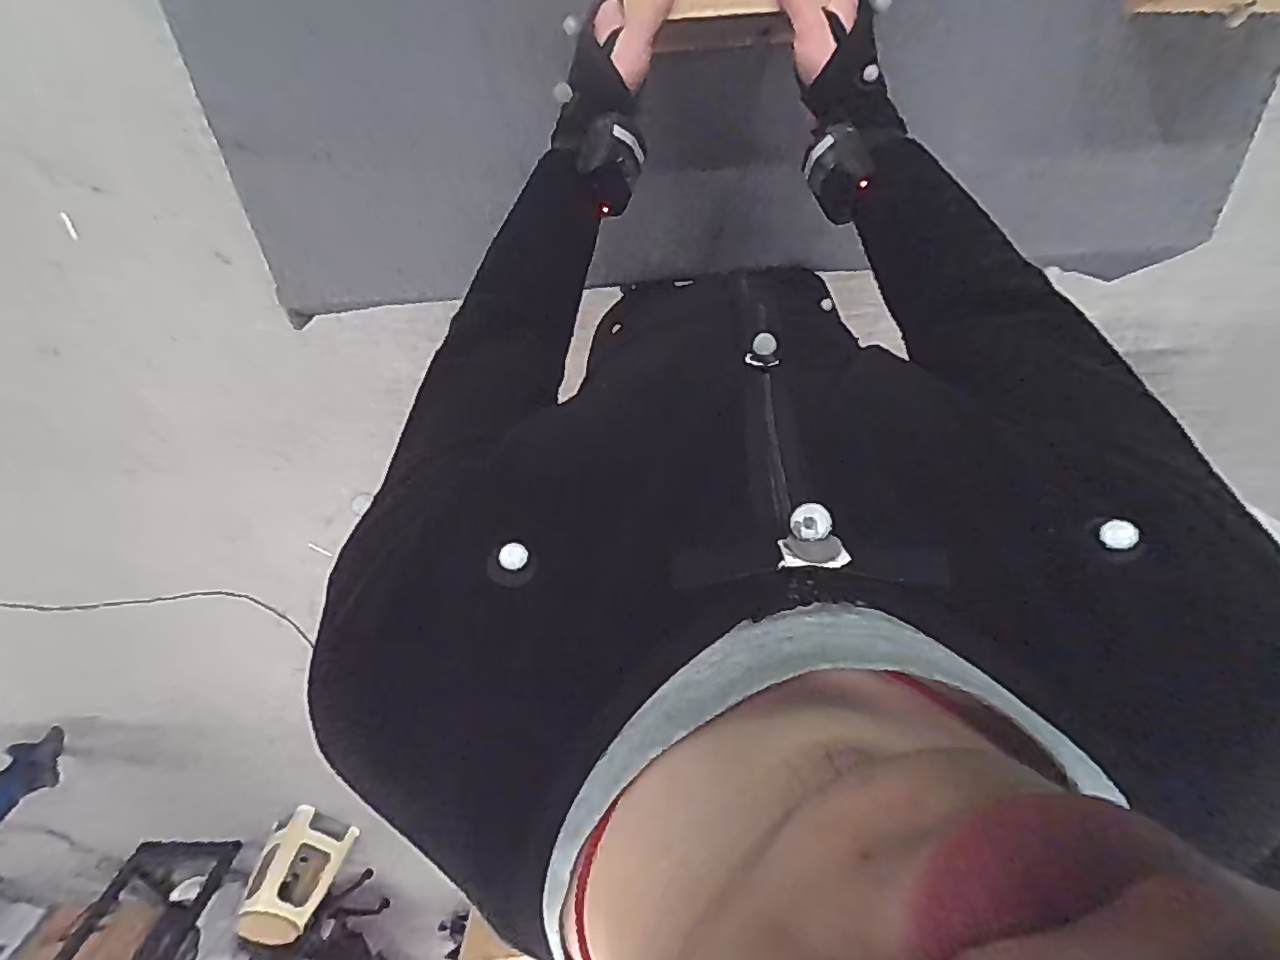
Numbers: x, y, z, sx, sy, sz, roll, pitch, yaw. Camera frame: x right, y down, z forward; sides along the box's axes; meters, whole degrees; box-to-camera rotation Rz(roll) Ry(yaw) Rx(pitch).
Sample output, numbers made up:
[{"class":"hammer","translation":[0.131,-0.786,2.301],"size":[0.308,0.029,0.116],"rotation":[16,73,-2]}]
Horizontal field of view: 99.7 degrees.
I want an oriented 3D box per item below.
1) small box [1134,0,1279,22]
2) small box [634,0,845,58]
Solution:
[{"class":"small box","translation":[0.597,-0.509,0.455],"size":[0.179,0.176,0.168],"rotation":[1,122,0]},{"class":"small box","translation":[0.080,-0.494,0.479],"size":[0.179,0.176,0.168],"rotation":[-2,120,4]}]
